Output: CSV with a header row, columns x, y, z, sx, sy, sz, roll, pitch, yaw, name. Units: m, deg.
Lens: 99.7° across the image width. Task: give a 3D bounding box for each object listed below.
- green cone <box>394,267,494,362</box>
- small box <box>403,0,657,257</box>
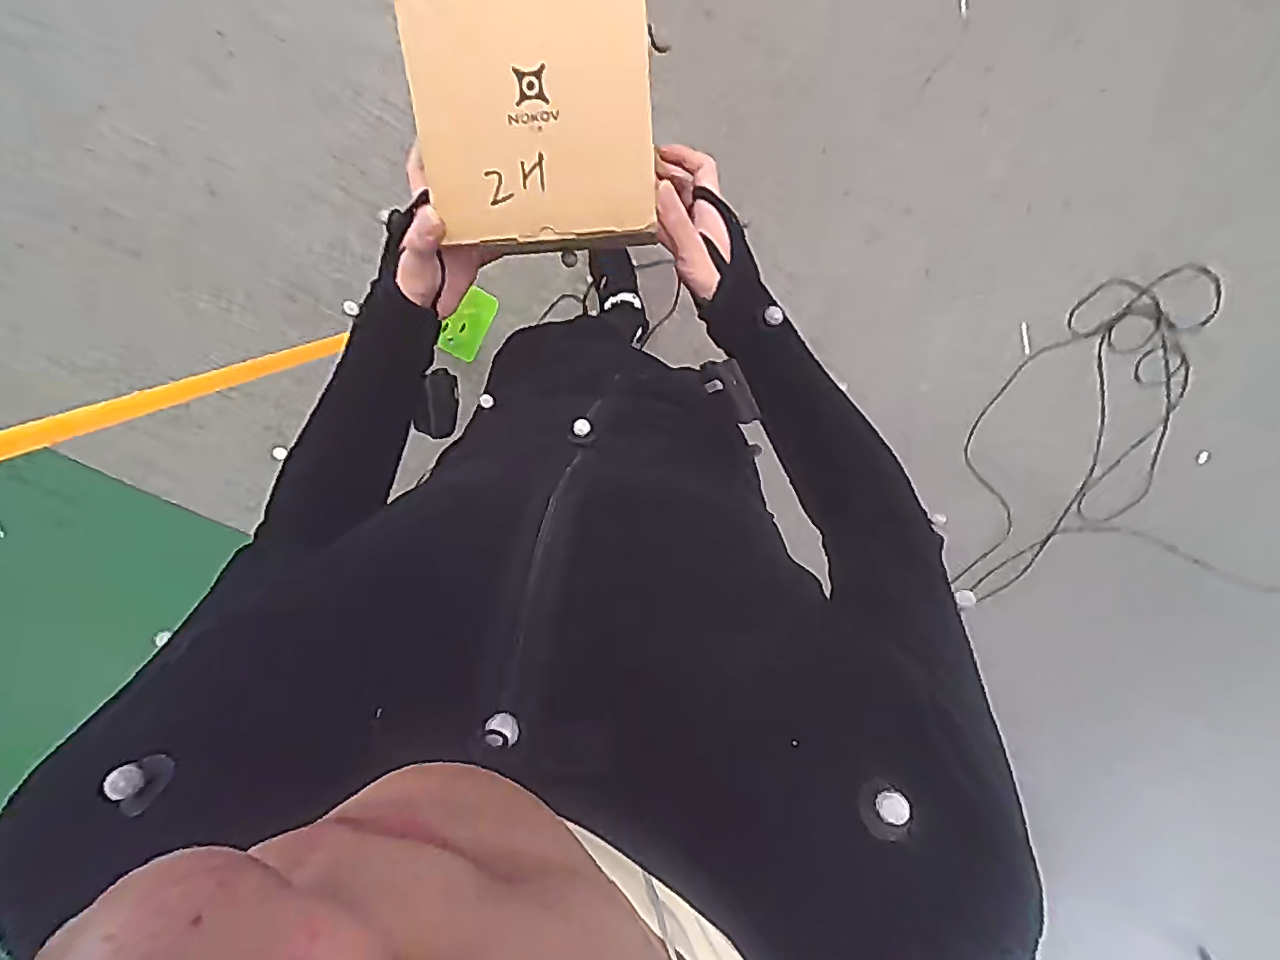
x,y,z,sx,sy,sz,roll,pitch,yaw,name
-0.523,-0.390,1.332,0.202,0.368,0.200,28,108,-12,green cone
-0.072,-0.288,0.454,0.168,0.176,0.179,-2,111,3,small box
